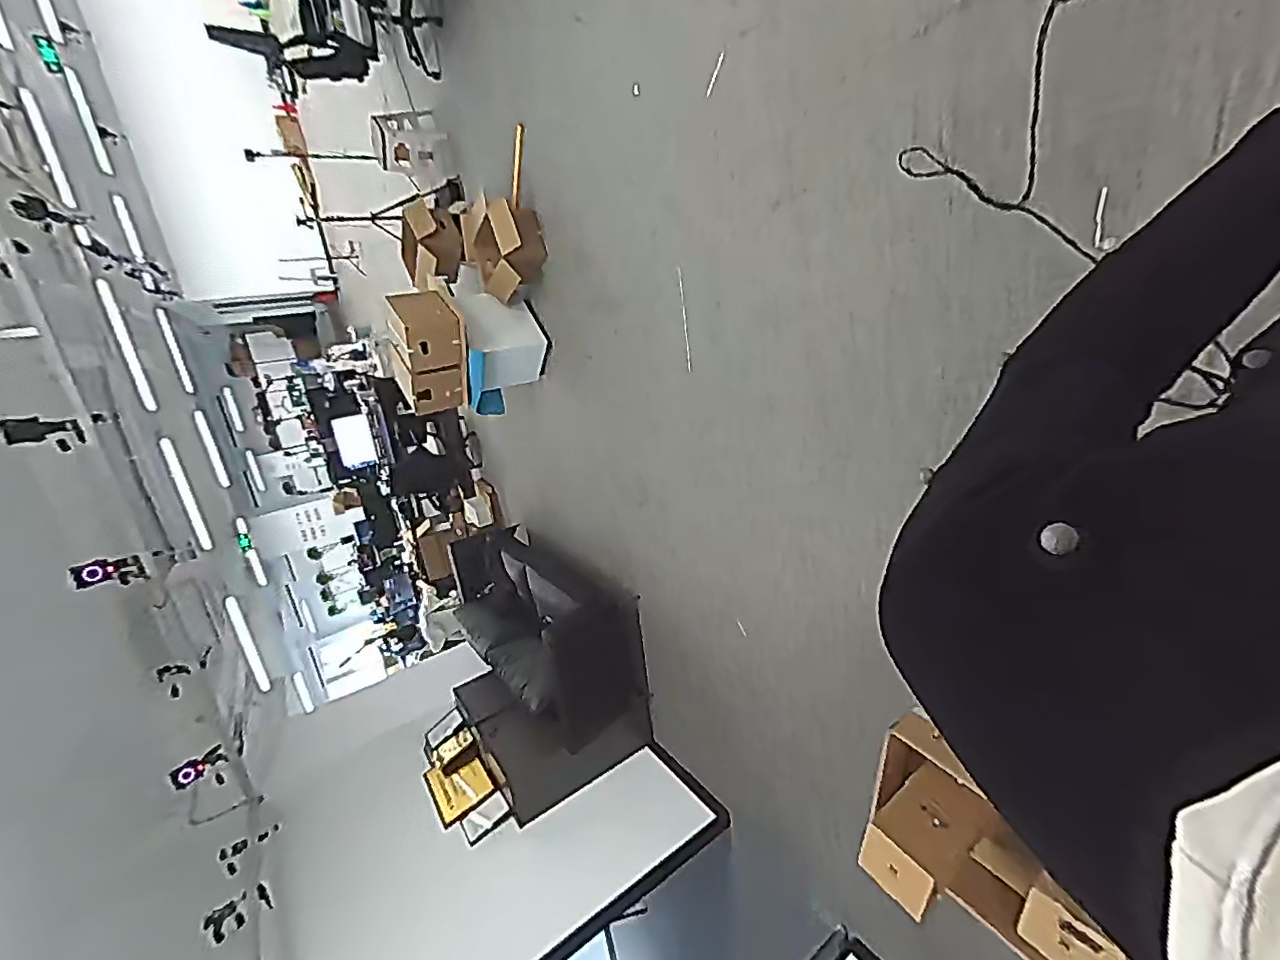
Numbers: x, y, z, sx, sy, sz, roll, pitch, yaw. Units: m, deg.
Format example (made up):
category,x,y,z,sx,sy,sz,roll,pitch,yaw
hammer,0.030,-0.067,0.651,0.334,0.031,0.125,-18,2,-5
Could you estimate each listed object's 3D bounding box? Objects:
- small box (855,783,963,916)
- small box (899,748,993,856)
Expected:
category,x,y,z,sx,sy,sz,roll,pitch,yaw
small box,0.663,0.904,1.334,0.168,0.176,0.179,31,130,46
small box,0.791,0.858,1.424,0.168,0.176,0.179,32,131,46
